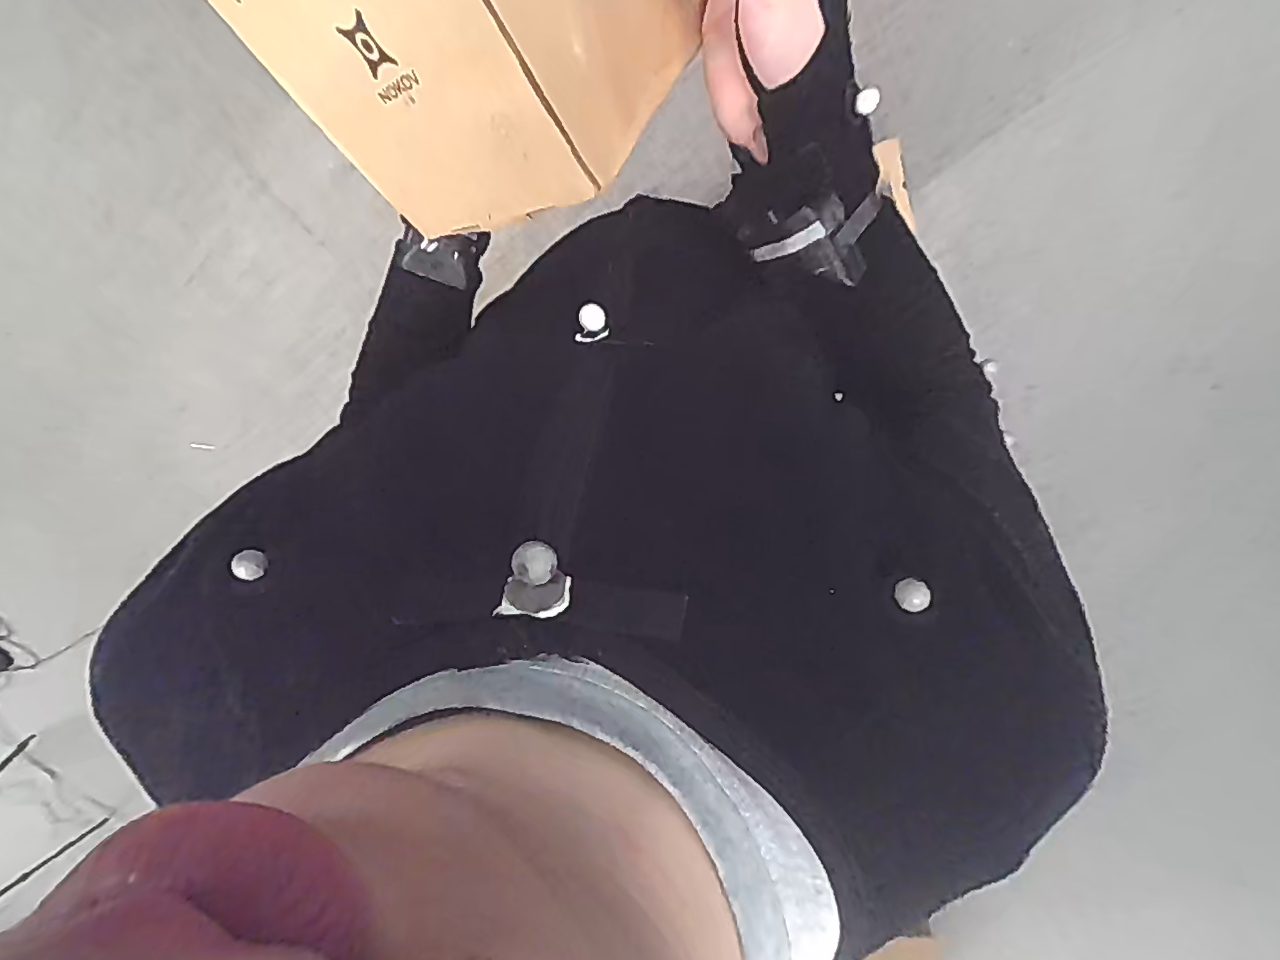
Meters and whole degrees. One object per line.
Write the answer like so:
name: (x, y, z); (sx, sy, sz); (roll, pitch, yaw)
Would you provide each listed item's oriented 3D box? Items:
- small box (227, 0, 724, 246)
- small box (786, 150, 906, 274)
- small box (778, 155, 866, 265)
small box: (-0.076, -0.264, 0.295); (0.168, 0.176, 0.179); (9, 155, 38)
small box: (0.407, -0.536, 1.089); (0.179, 0.176, 0.168); (-17, 113, 17)
small box: (0.427, -0.614, 1.233); (0.179, 0.176, 0.168); (-18, 113, 18)
